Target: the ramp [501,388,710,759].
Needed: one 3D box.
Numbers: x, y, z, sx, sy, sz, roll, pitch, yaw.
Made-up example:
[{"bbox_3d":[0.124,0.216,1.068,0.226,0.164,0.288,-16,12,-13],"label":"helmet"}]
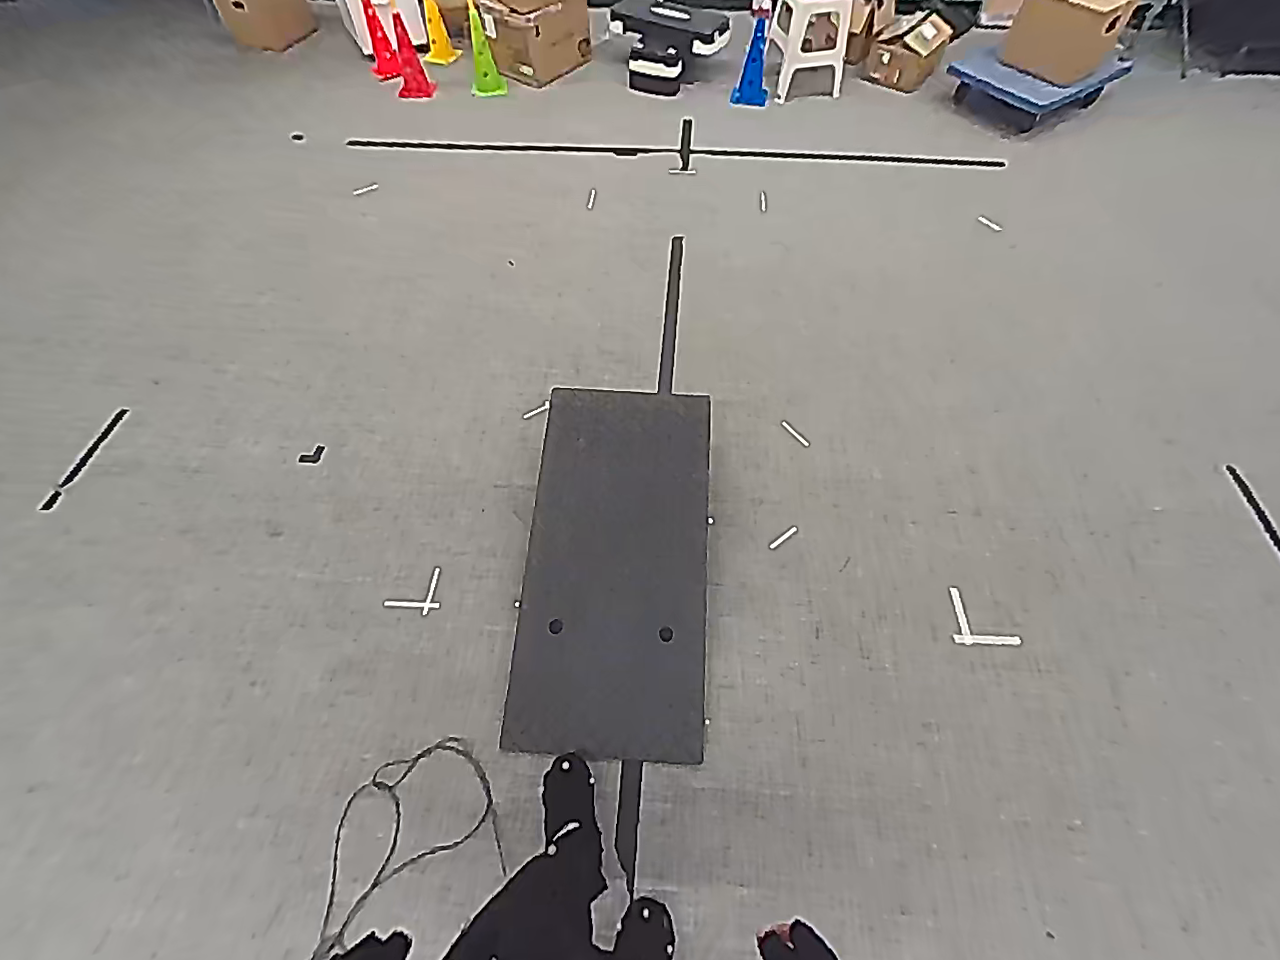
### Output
[{"bbox_3d":[-0.060,0.193,1.481,0.509,0.206,0.991,3,58,0],"label":"ramp"}]
